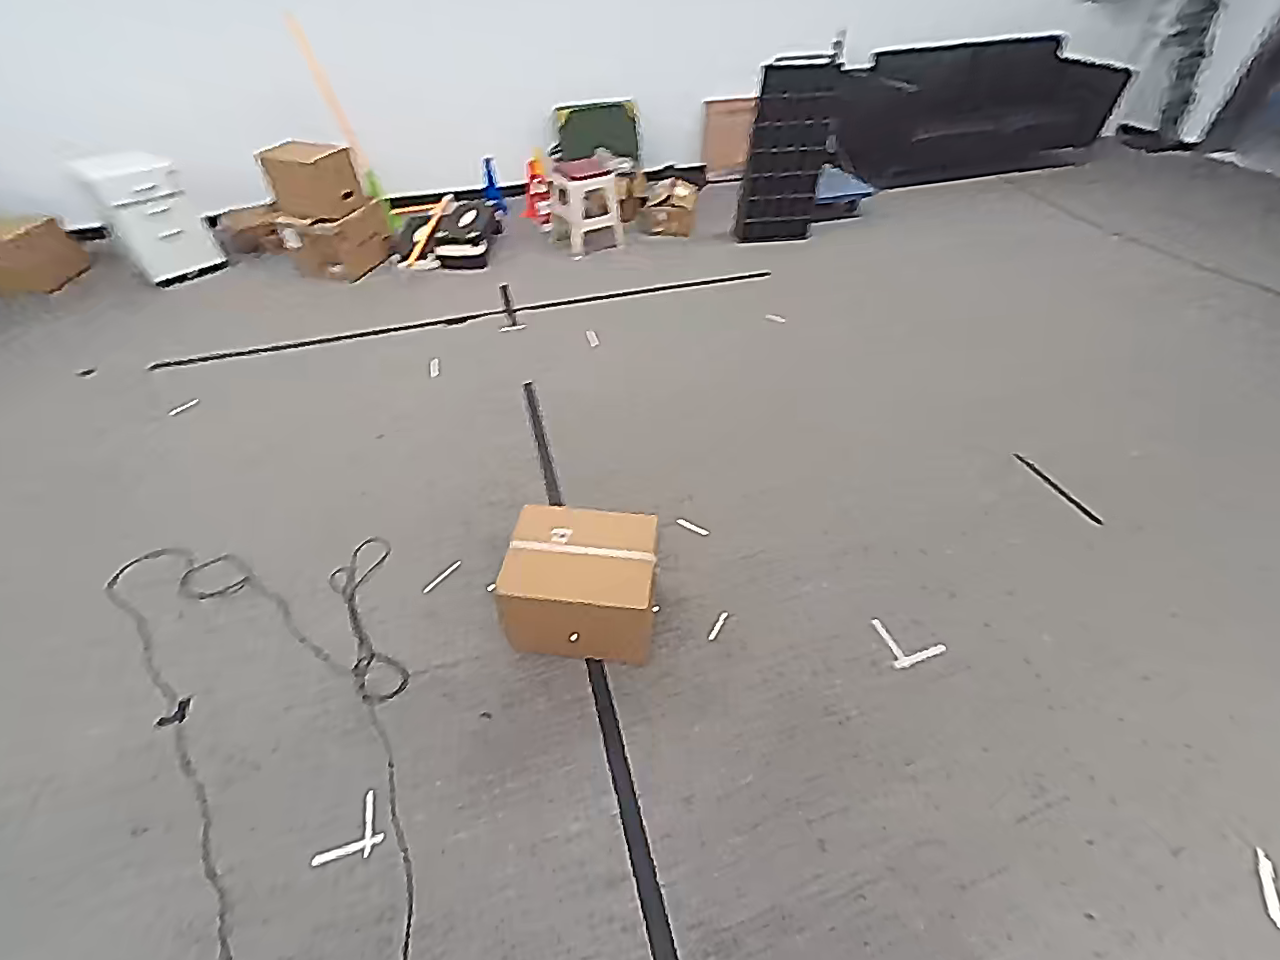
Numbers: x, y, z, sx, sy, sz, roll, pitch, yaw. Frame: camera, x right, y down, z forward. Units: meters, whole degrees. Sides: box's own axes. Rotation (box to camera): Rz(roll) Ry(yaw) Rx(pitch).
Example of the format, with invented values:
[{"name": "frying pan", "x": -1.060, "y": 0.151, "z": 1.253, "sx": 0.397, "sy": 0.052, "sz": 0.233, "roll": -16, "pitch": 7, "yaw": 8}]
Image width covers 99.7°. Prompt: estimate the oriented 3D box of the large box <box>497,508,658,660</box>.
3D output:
[{"name": "large box", "x": -0.154, "y": 0.308, "z": 1.589, "sx": 0.408, "sy": 0.320, "sz": 0.320, "roll": 4, "pitch": 45, "yaw": 5}]
